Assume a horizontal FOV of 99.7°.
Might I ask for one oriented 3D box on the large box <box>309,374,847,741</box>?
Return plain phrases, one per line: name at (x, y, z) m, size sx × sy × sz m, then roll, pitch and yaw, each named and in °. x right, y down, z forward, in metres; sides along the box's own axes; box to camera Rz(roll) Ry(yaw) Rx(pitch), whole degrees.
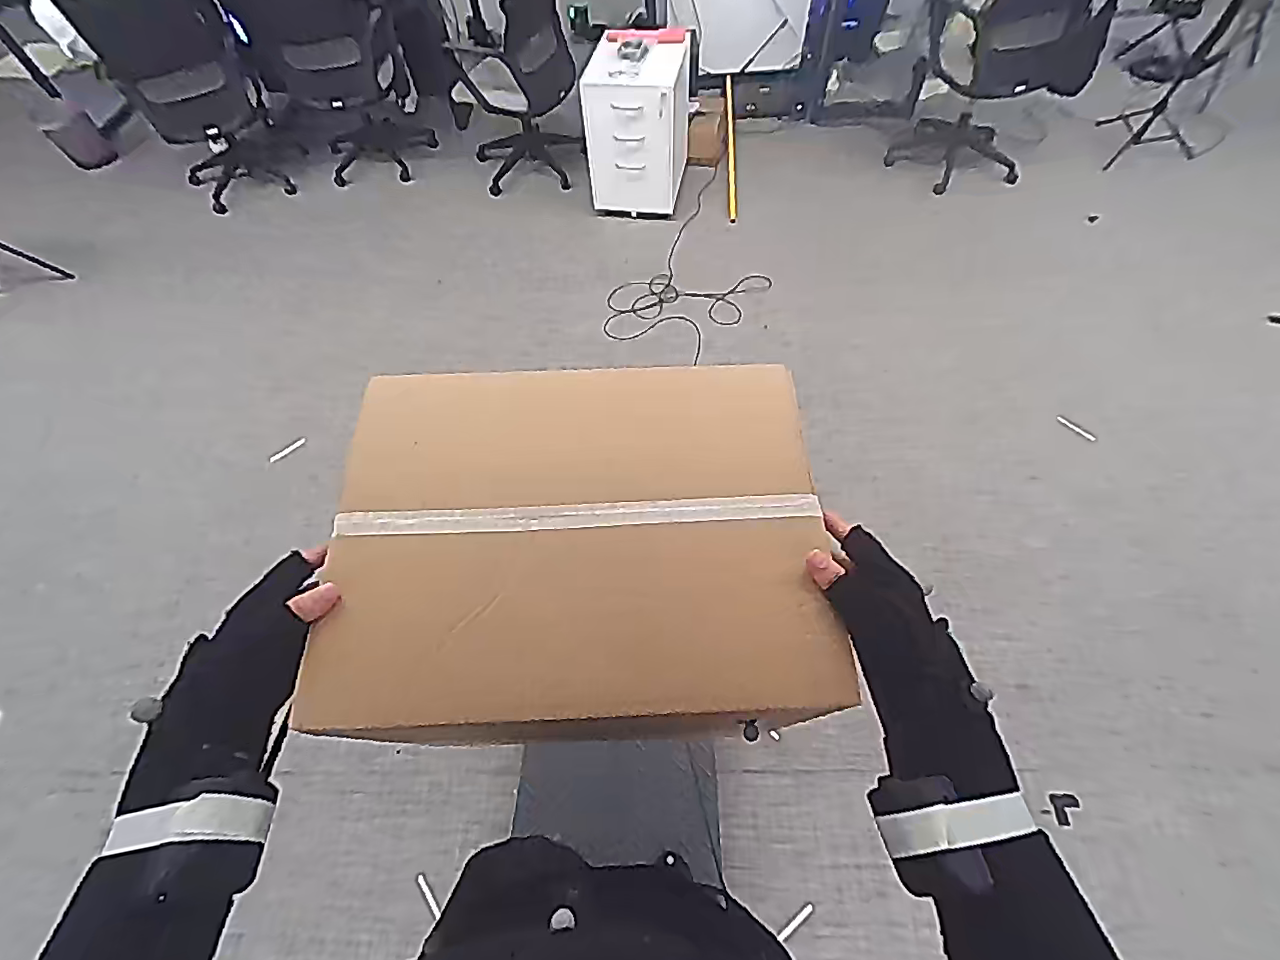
large box at (-0.049, 0.106, 0.595) m, size 0.408 × 0.320 × 0.320 m, roll -2°, pitch 62°, yaw -2°
